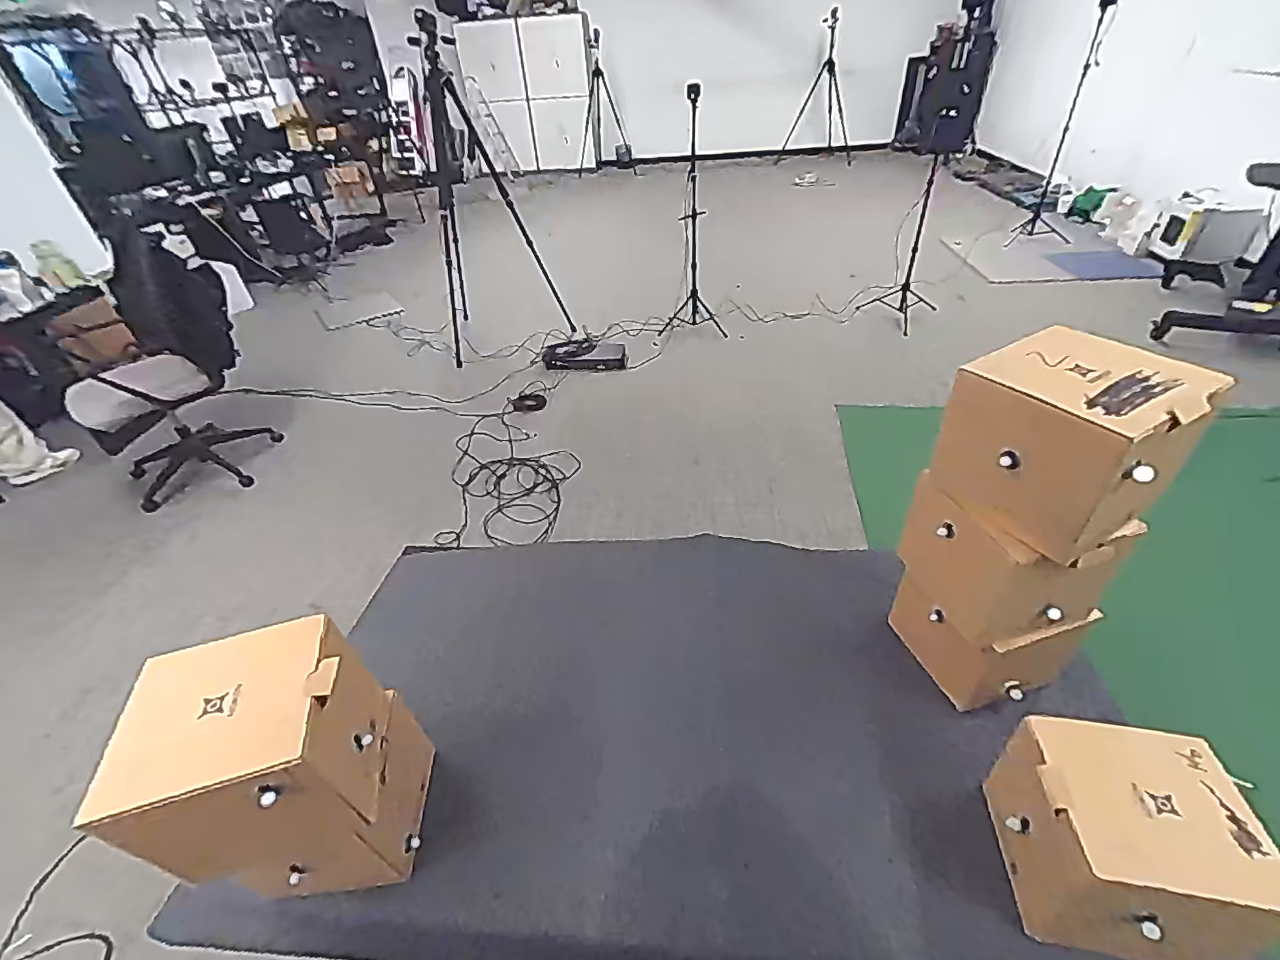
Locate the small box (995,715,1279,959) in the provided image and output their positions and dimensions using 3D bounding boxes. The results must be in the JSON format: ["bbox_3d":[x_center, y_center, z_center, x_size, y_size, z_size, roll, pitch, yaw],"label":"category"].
[{"bbox_3d":[0.510,0.384,0.579,0.179,0.176,0.168,3,36,12],"label":"small box"}]

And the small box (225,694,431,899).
[{"bbox_3d":[-0.382,0.393,0.673,0.179,0.176,0.168,-7,39,-2],"label":"small box"}]

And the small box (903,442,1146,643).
[{"bbox_3d":[0.474,0.080,0.705,0.168,0.176,0.179,-14,40,-5],"label":"small box"}]

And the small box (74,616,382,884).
[{"bbox_3d":[-0.391,0.277,0.559,0.179,0.176,0.168,-14,40,-12],"label":"small box"}]

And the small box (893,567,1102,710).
[{"bbox_3d":[0.510,0.206,0.807,0.168,0.176,0.179,-16,42,-9],"label":"small box"}]
